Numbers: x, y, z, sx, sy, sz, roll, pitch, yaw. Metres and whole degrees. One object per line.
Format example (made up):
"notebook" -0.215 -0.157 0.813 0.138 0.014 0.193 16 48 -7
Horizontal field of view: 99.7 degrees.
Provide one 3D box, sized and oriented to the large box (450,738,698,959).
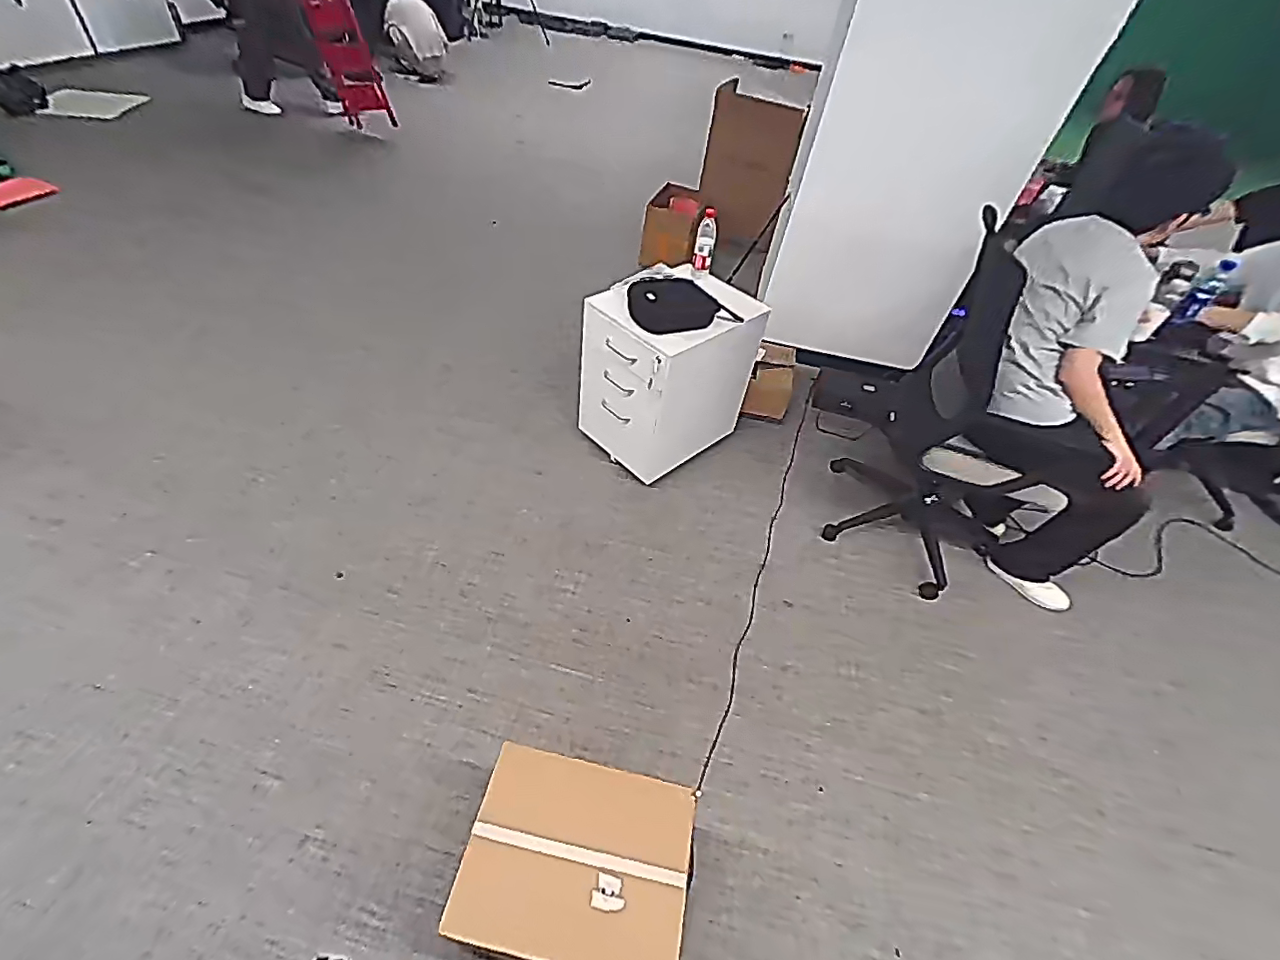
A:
"large box" -0.122 0.782 1.110 0.408 0.320 0.320 14 47 3
